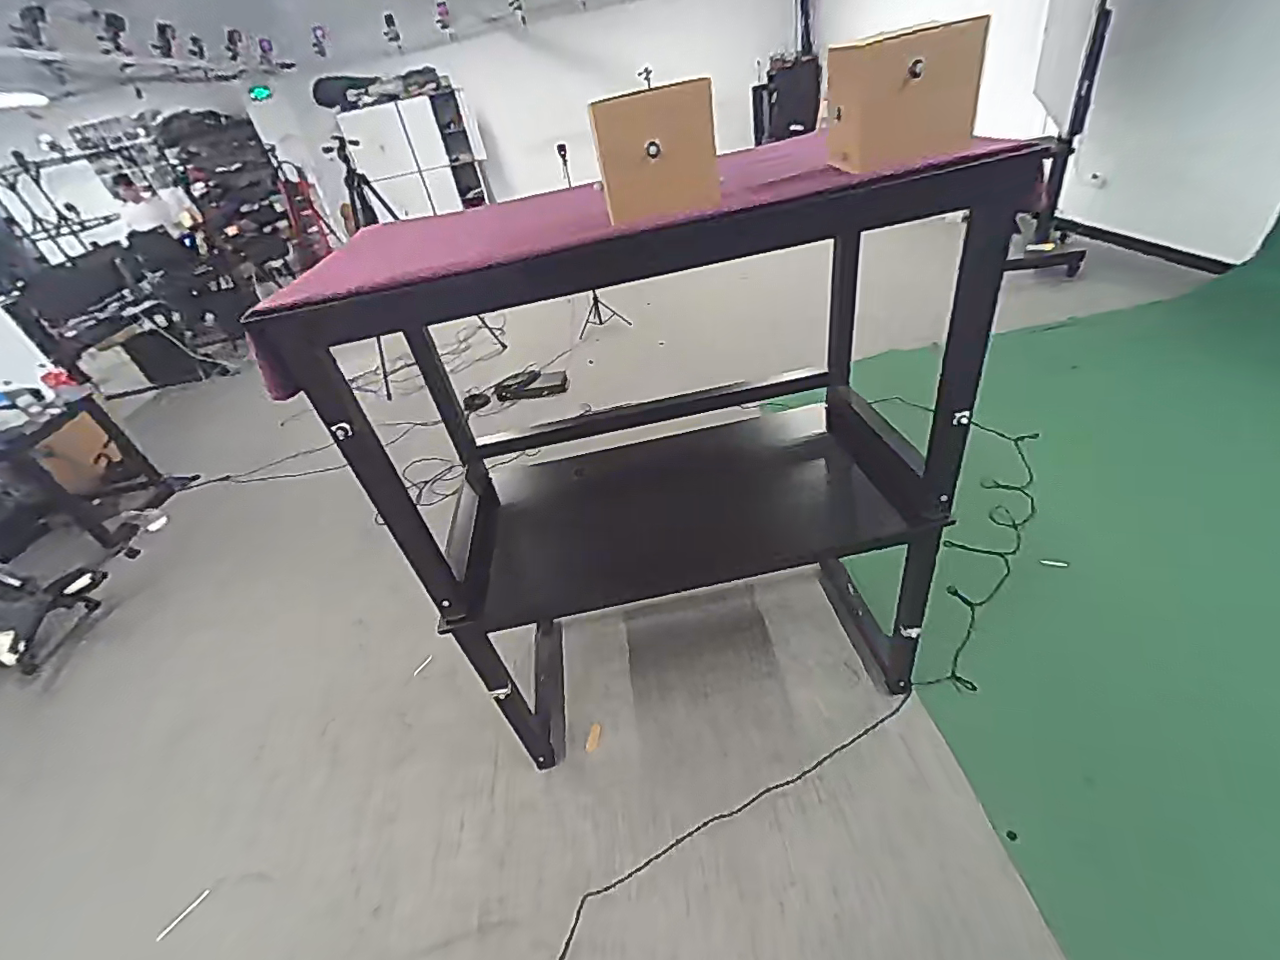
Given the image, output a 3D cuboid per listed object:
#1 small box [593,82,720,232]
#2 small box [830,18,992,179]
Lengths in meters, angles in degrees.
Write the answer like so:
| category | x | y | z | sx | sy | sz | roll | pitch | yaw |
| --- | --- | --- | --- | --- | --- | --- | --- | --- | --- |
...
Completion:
| category | x | y | z | sx | sy | sz | roll | pitch | yaw |
| --- | --- | --- | --- | --- | --- | --- | --- | --- | --- |
| small box | 0.027 | -0.519 | 0.870 | 0.179 | 0.176 | 0.168 | -12 | 35 | 2 |
| small box | 0.410 | -0.592 | 0.850 | 0.179 | 0.176 | 0.168 | -9 | 37 | 6 |
